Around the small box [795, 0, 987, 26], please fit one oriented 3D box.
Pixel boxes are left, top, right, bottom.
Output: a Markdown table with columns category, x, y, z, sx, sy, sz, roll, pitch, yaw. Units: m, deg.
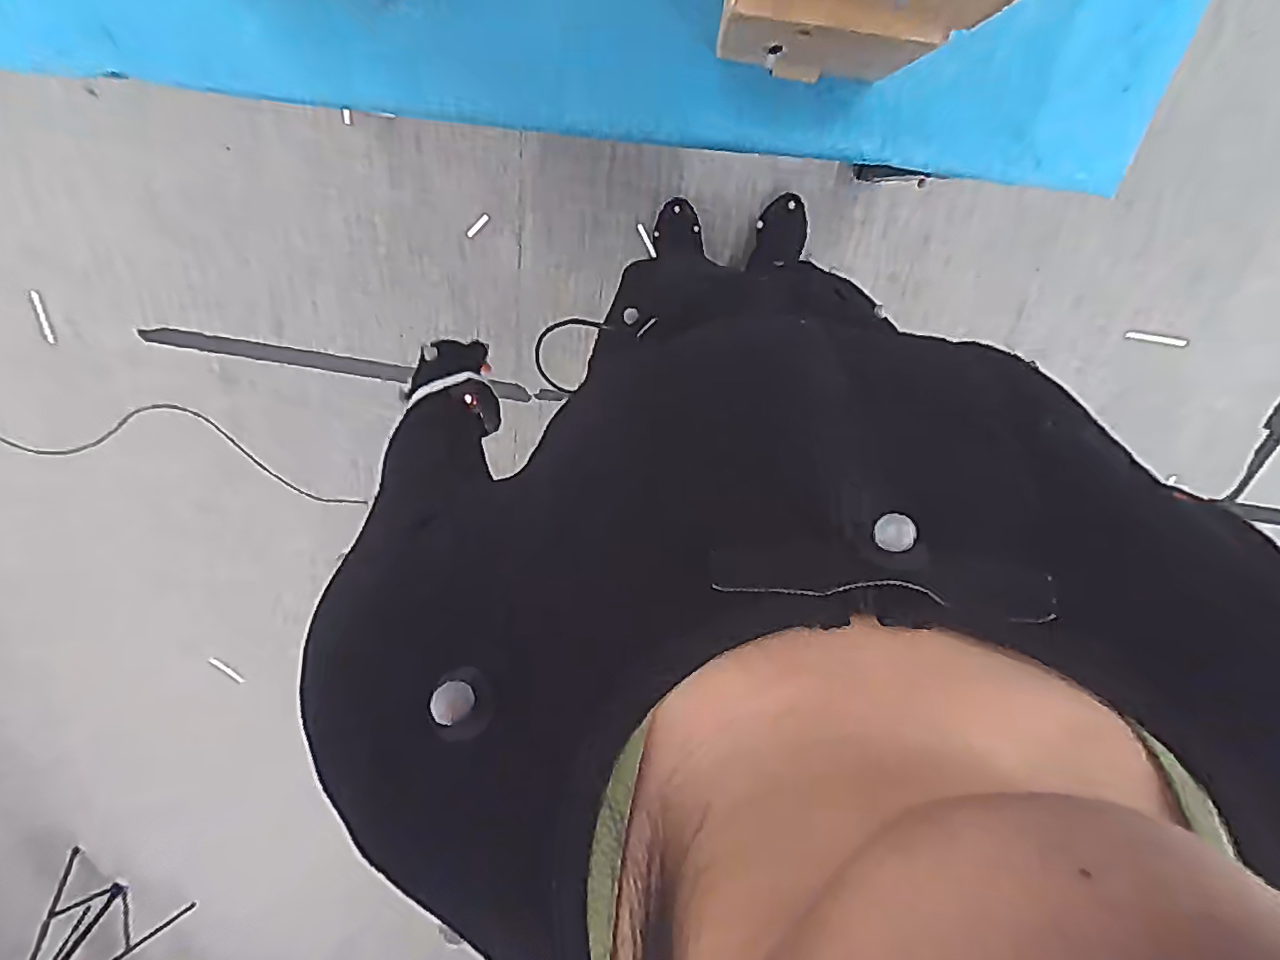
| category | x | y | z | sx | sy | sz | roll | pitch | yaw |
| --- | --- | --- | --- | --- | --- | --- | --- | --- | --- |
| small box | 0.161 | -0.379 | 0.287 | 0.179 | 0.176 | 0.168 | 10 | 117 | 0 |

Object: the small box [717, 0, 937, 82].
| category | x | y | z | sx | sy | sz | roll | pitch | yaw |
| --- | --- | --- | --- | --- | --- | --- | --- | --- | --- |
| small box | 0.161 | -0.451 | 0.434 | 0.168 | 0.176 | 0.179 | 7 | 118 | -1 |
